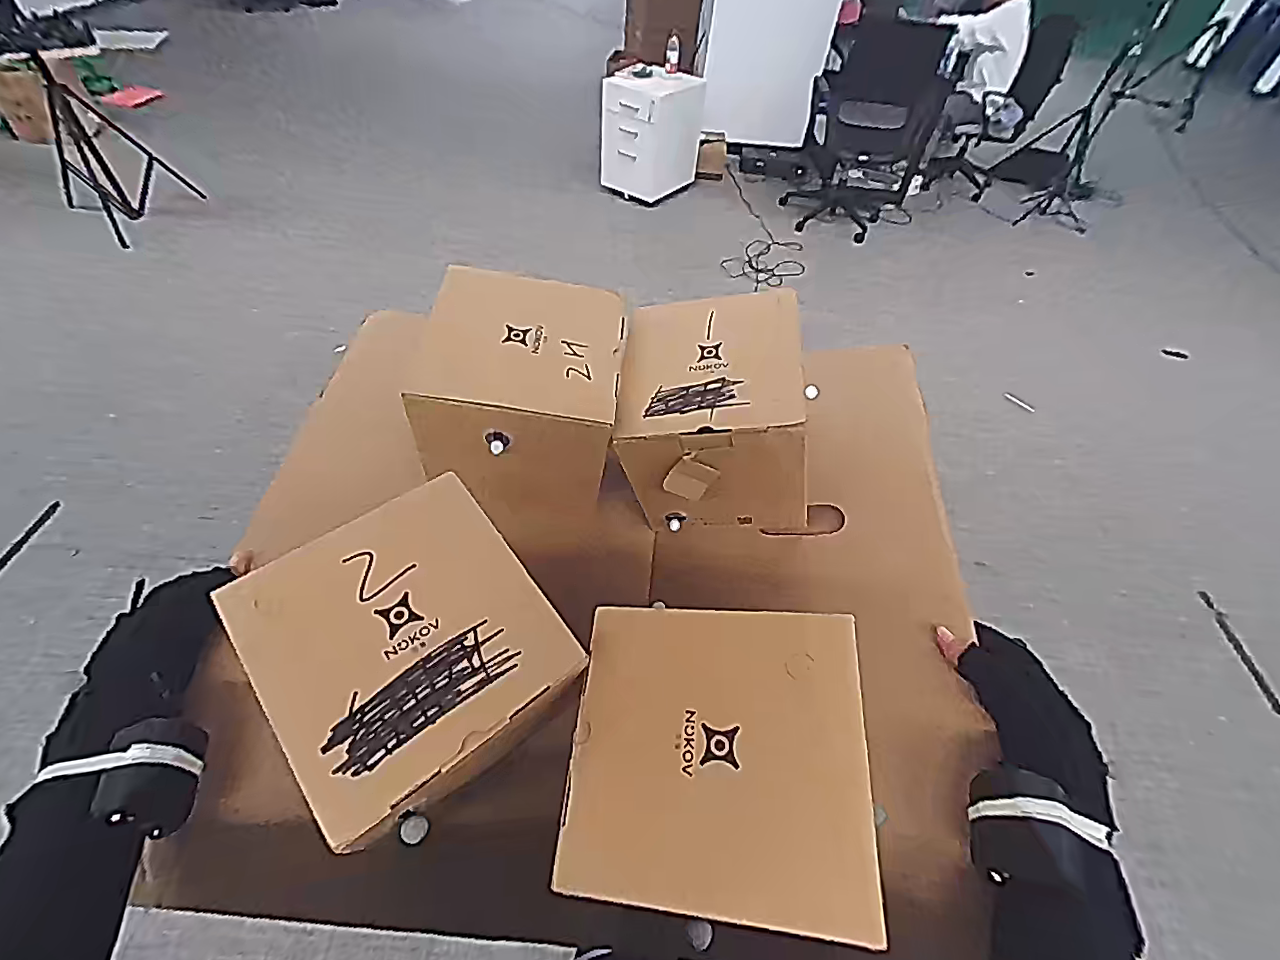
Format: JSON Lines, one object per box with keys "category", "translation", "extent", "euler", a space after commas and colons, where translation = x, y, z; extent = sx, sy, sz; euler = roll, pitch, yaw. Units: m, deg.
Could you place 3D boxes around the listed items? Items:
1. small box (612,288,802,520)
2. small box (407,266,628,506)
{"category": "small box", "translation": [0.082, -0.068, 0.568], "extent": [0.168, 0.176, 0.179], "euler": [-2, 55, 15]}
{"category": "small box", "translation": [-0.116, -0.088, 0.562], "extent": [0.179, 0.176, 0.168], "euler": [9, 58, -7]}
